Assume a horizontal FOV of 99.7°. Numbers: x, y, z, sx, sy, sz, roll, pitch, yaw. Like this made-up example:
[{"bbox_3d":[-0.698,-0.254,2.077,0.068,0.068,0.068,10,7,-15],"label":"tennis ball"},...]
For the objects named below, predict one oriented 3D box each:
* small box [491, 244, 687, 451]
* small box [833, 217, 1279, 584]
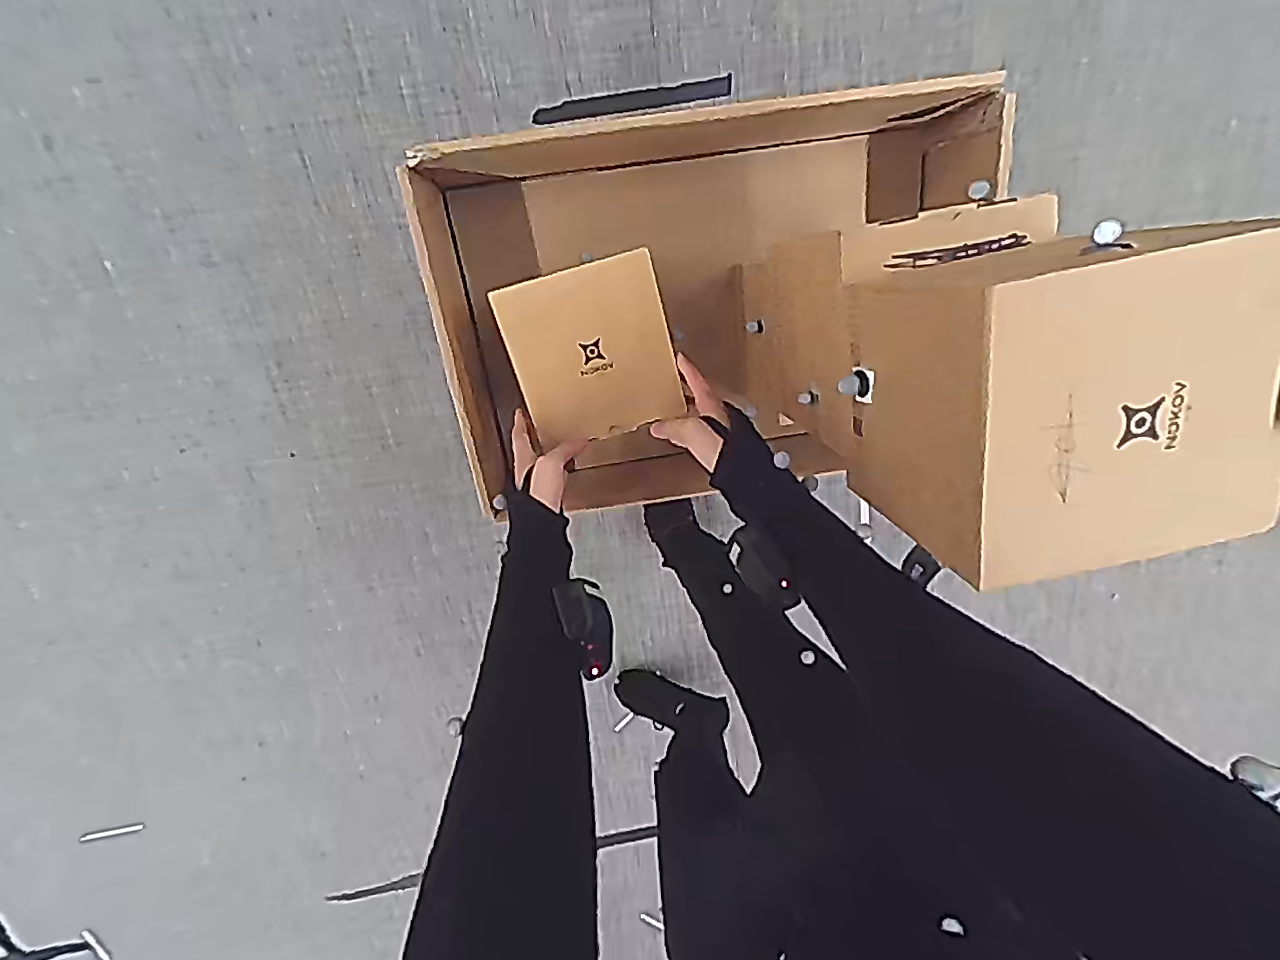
[{"bbox_3d":[-0.056,-0.156,0.630,0.168,0.176,0.179,-17,111,0],"label":"small box"},{"bbox_3d":[0.246,-0.061,0.346,0.179,0.176,0.168,-12,110,-2],"label":"small box"}]
